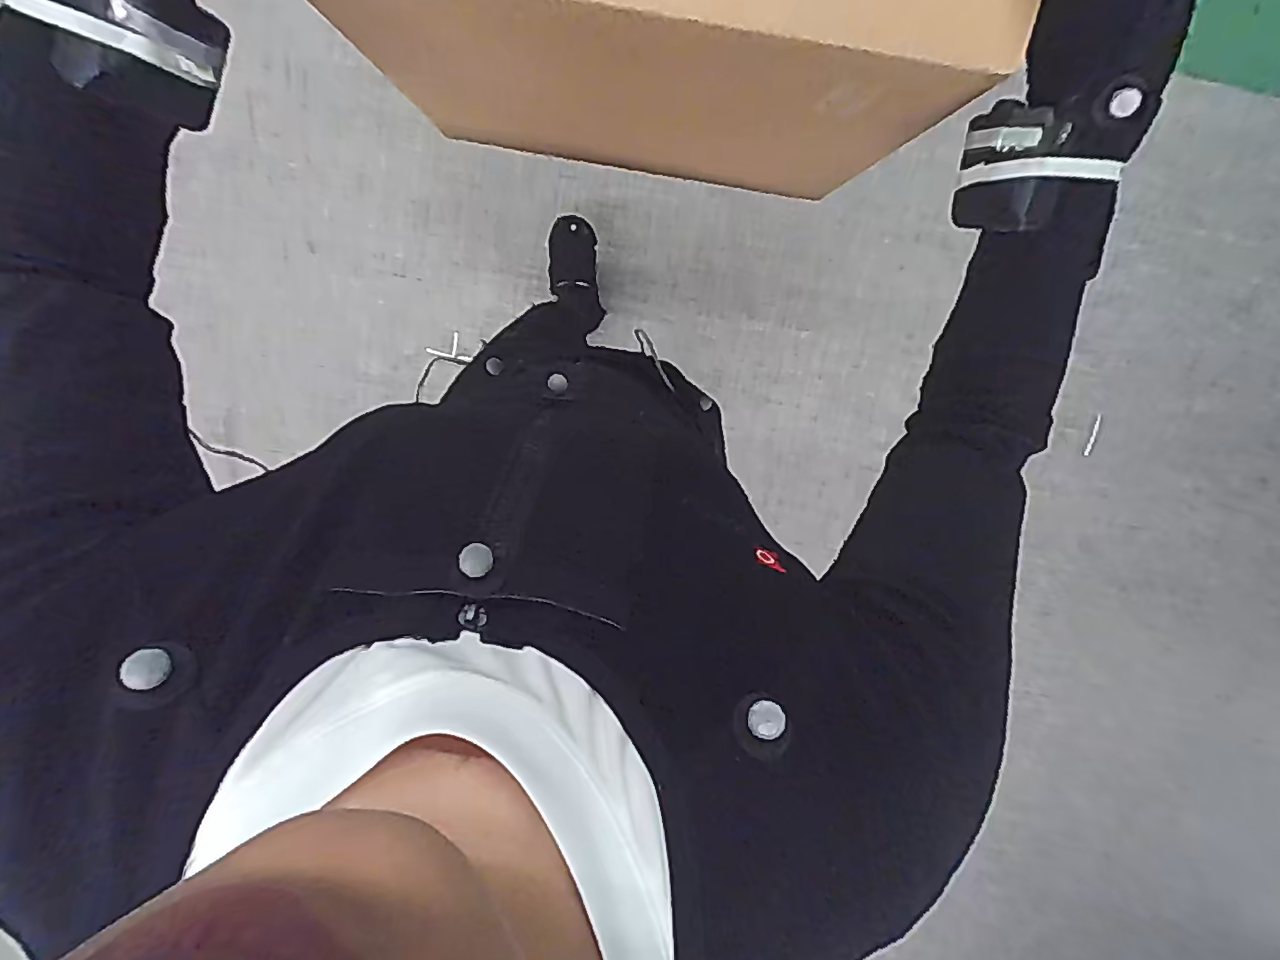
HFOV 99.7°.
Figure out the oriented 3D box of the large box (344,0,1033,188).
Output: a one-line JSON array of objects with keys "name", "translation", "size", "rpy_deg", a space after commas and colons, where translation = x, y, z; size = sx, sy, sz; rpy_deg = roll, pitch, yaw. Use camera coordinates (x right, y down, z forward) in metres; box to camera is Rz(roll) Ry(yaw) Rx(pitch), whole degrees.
[{"name": "large box", "translation": [0.025, -0.439, 0.391], "size": [0.408, 0.320, 0.320], "rpy_deg": [7, 107, -4]}]
